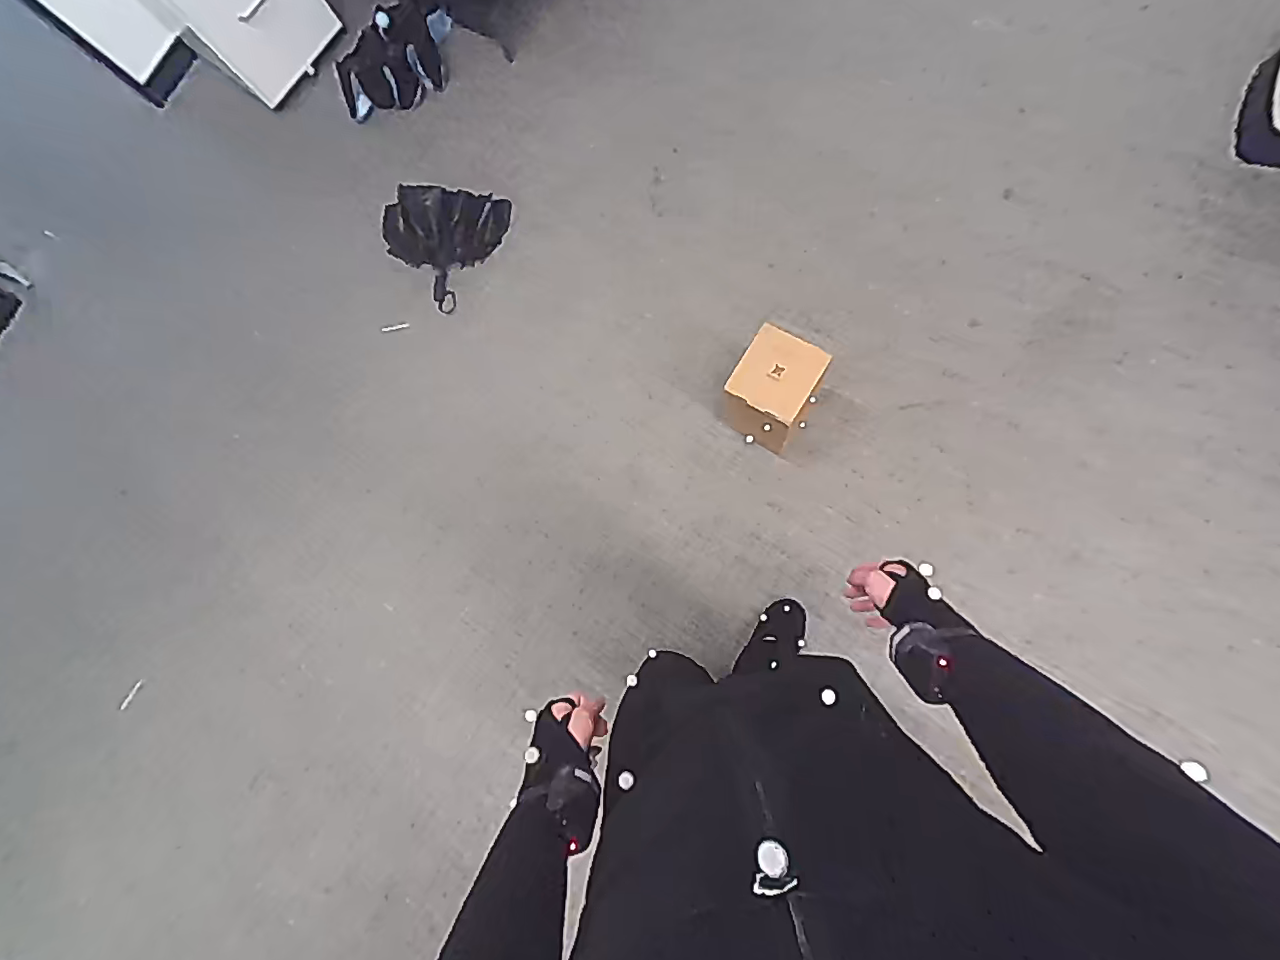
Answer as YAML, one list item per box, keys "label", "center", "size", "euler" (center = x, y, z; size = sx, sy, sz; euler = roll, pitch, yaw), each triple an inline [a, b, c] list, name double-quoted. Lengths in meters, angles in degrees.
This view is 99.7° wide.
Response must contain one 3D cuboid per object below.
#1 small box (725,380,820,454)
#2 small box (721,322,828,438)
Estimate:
- label: "small box"
  center: [0.330, -0.191, 1.375]
  size: [0.168, 0.176, 0.179]
  euler: [31, 88, 15]
- label: "small box"
  center: [0.299, -0.216, 1.218]
  size: [0.168, 0.176, 0.179]
  euler: [30, 86, 14]
